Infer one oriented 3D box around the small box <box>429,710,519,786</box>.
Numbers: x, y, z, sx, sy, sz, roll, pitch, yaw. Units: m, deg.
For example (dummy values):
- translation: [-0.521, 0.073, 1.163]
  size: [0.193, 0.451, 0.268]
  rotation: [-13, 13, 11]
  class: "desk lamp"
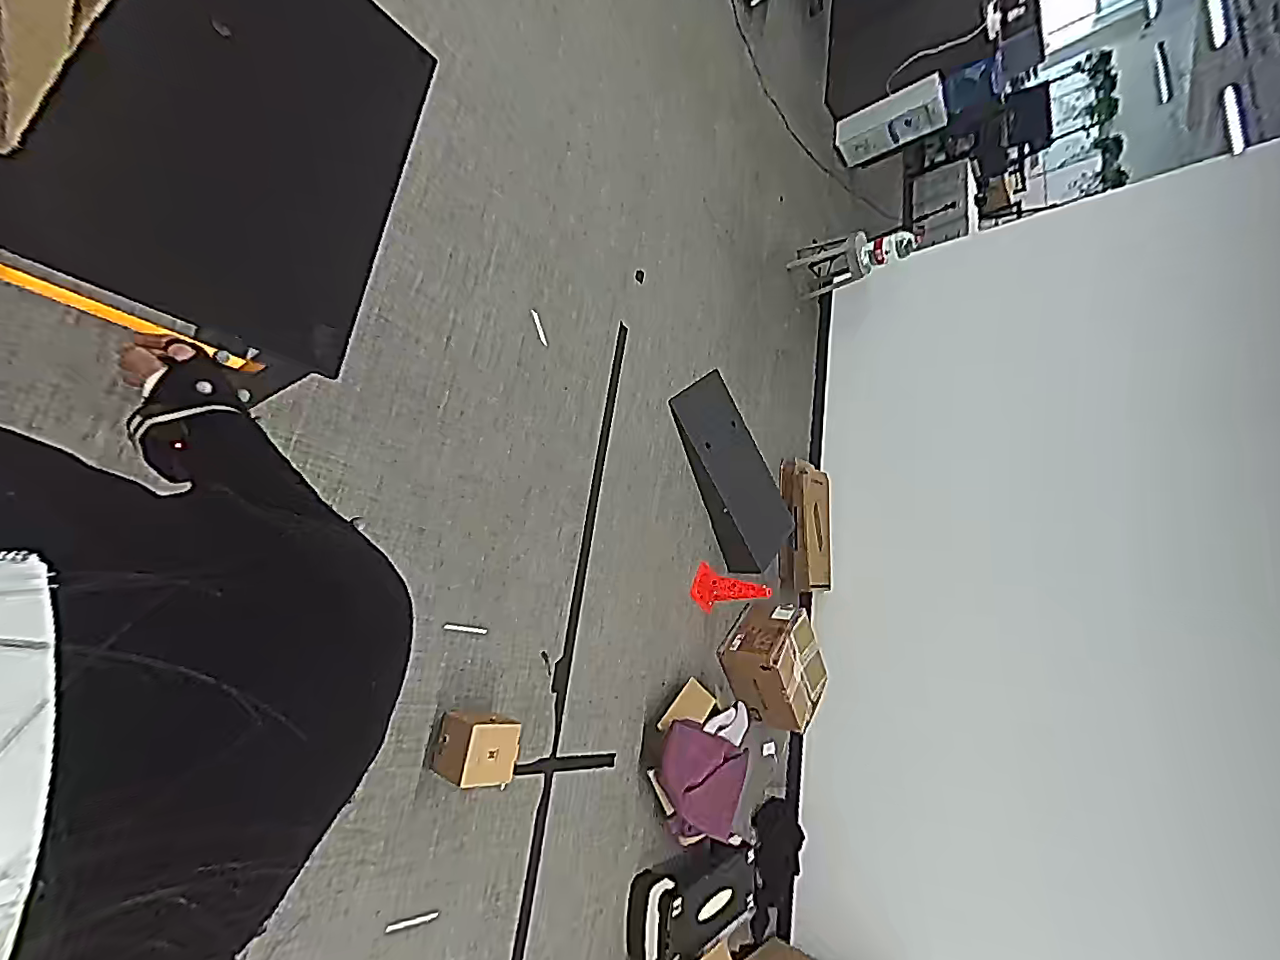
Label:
- translation: [-0.494, 0.790, 1.609]
  size: [0.179, 0.176, 0.168]
  rotation: [25, 68, -44]
  class: "small box"
